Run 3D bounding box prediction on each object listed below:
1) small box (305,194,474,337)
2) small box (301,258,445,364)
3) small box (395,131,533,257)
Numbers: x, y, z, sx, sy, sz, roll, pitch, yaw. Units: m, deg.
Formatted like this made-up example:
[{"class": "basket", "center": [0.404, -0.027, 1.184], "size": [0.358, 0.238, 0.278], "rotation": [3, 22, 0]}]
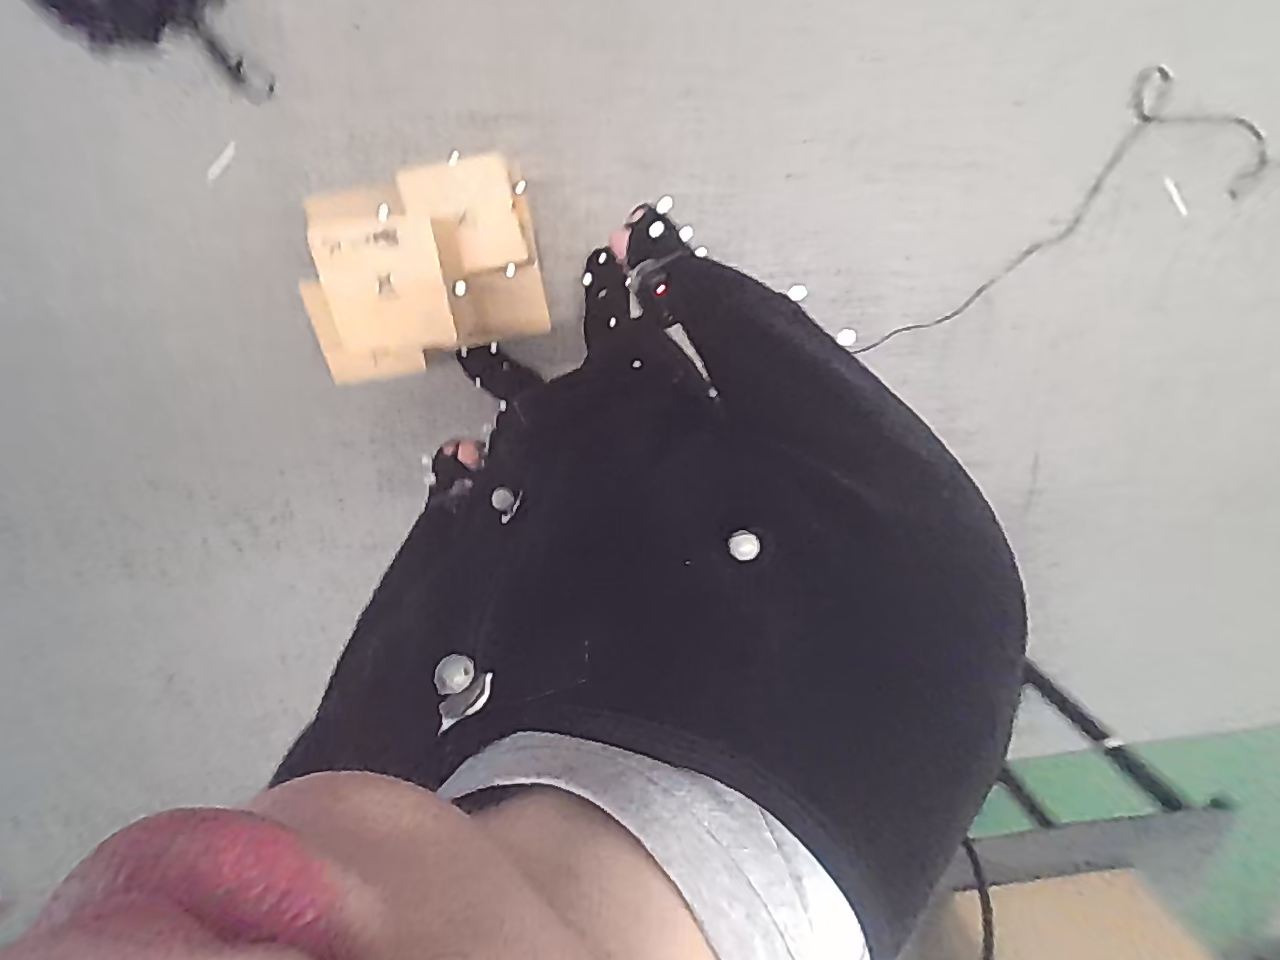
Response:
[{"class": "small box", "center": [-0.364, -0.333, 0.828], "size": [0.168, 0.176, 0.179], "rotation": [-8, 118, -3]}, {"class": "small box", "center": [-0.478, -0.330, 0.999], "size": [0.168, 0.176, 0.179], "rotation": [-9, 119, -3]}, {"class": "small box", "center": [-0.292, -0.489, 0.948], "size": [0.179, 0.176, 0.168], "rotation": [-13, 114, 0]}]
